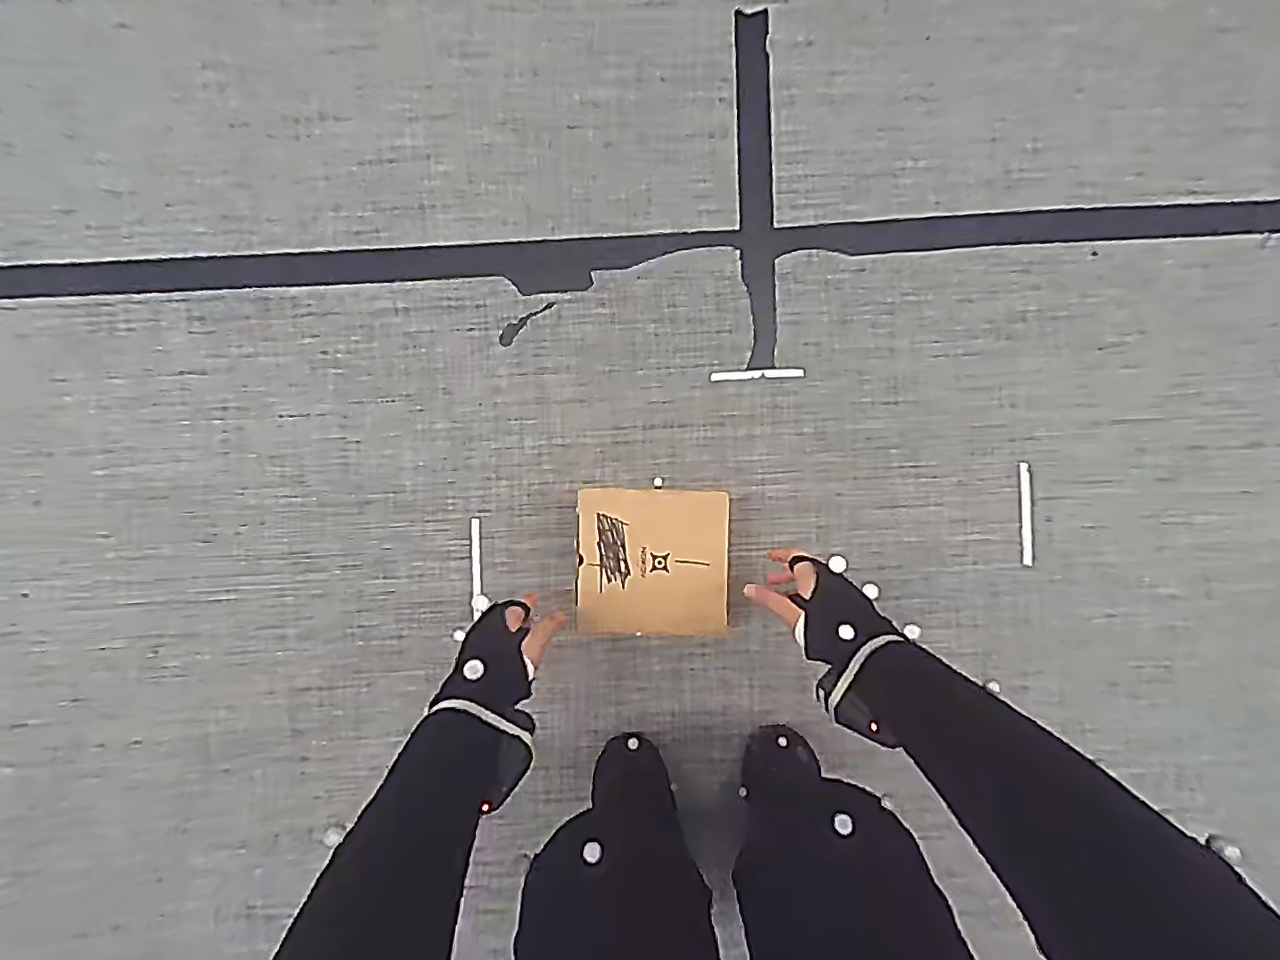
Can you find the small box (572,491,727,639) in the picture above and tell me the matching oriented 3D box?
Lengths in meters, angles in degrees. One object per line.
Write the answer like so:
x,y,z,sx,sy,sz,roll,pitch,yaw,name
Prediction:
0.011,0.099,0.699,0.179,0.176,0.168,2,90,-1,small box
